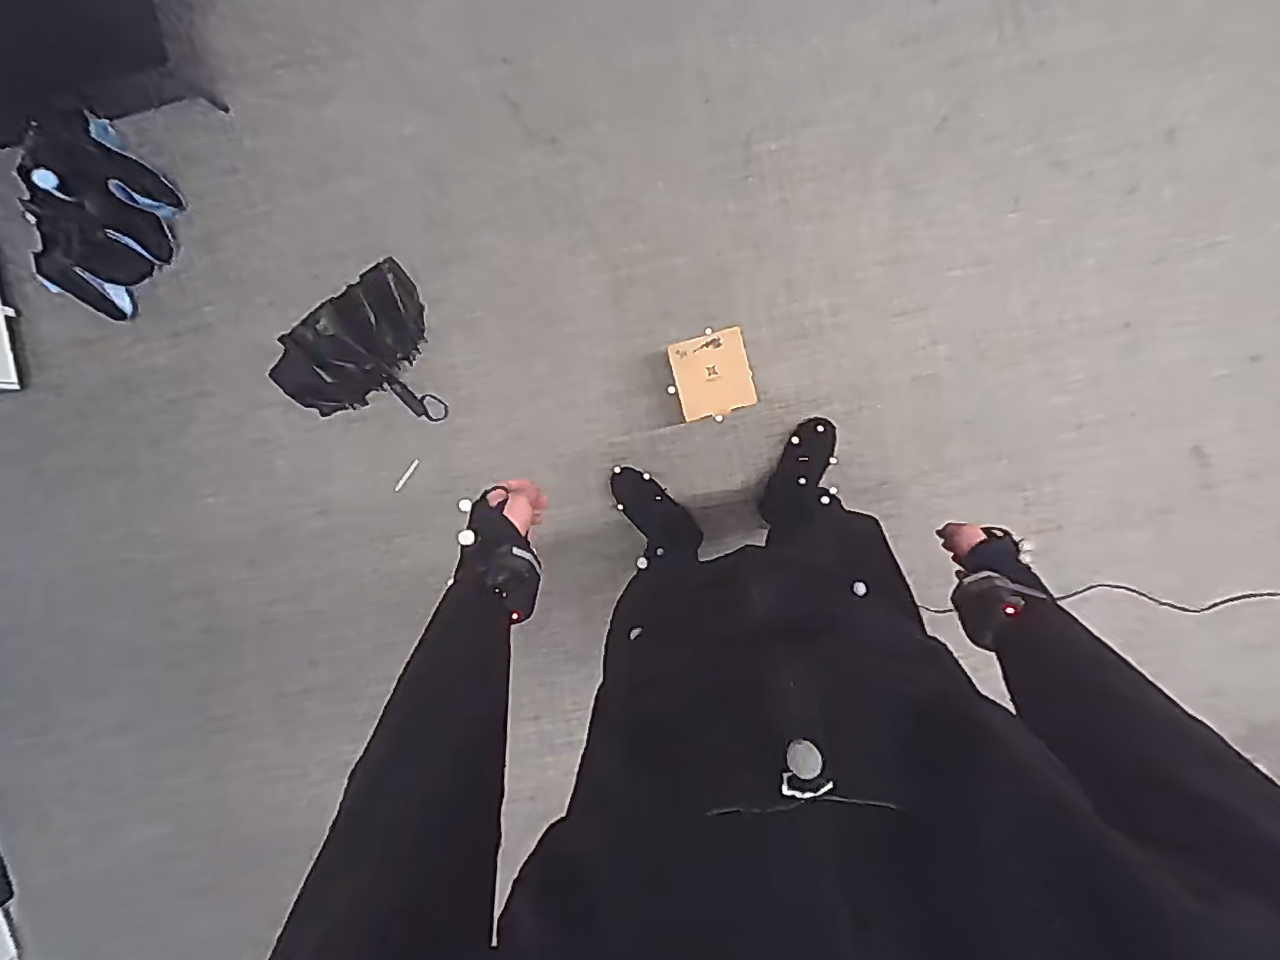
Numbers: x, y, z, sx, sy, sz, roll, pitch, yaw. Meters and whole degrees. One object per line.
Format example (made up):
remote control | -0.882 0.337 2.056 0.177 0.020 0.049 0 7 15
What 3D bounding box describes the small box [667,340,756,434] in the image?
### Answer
small box | 0.165 -0.215 1.277 0.168 0.176 0.179 -15 95 4
